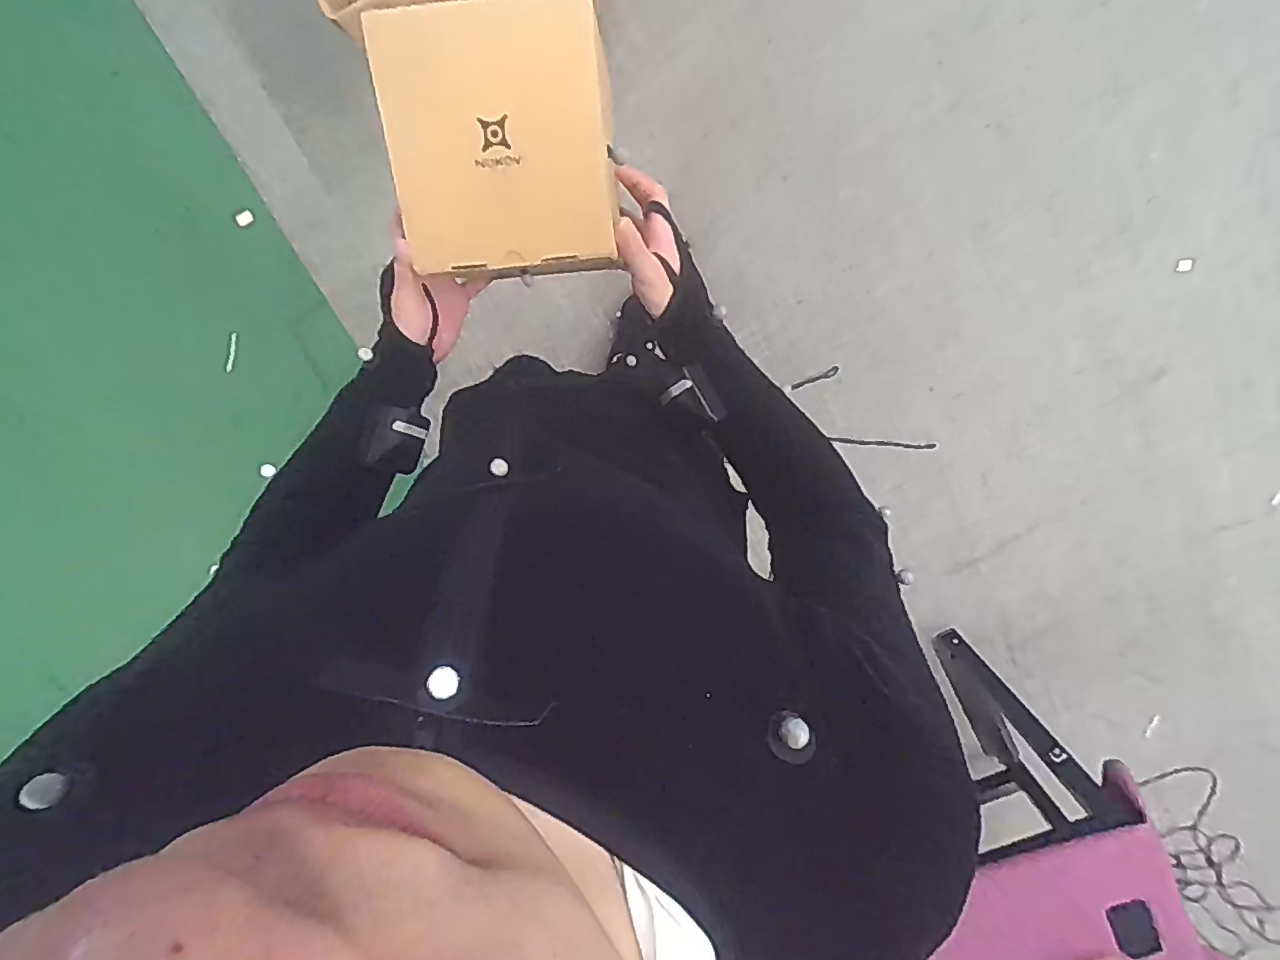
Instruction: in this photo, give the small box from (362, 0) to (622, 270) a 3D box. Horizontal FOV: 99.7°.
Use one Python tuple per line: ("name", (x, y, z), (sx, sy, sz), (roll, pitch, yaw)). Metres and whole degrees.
("small box", (-0.107, -0.287, 0.478), (0.168, 0.176, 0.179), (-5, 111, 3))
